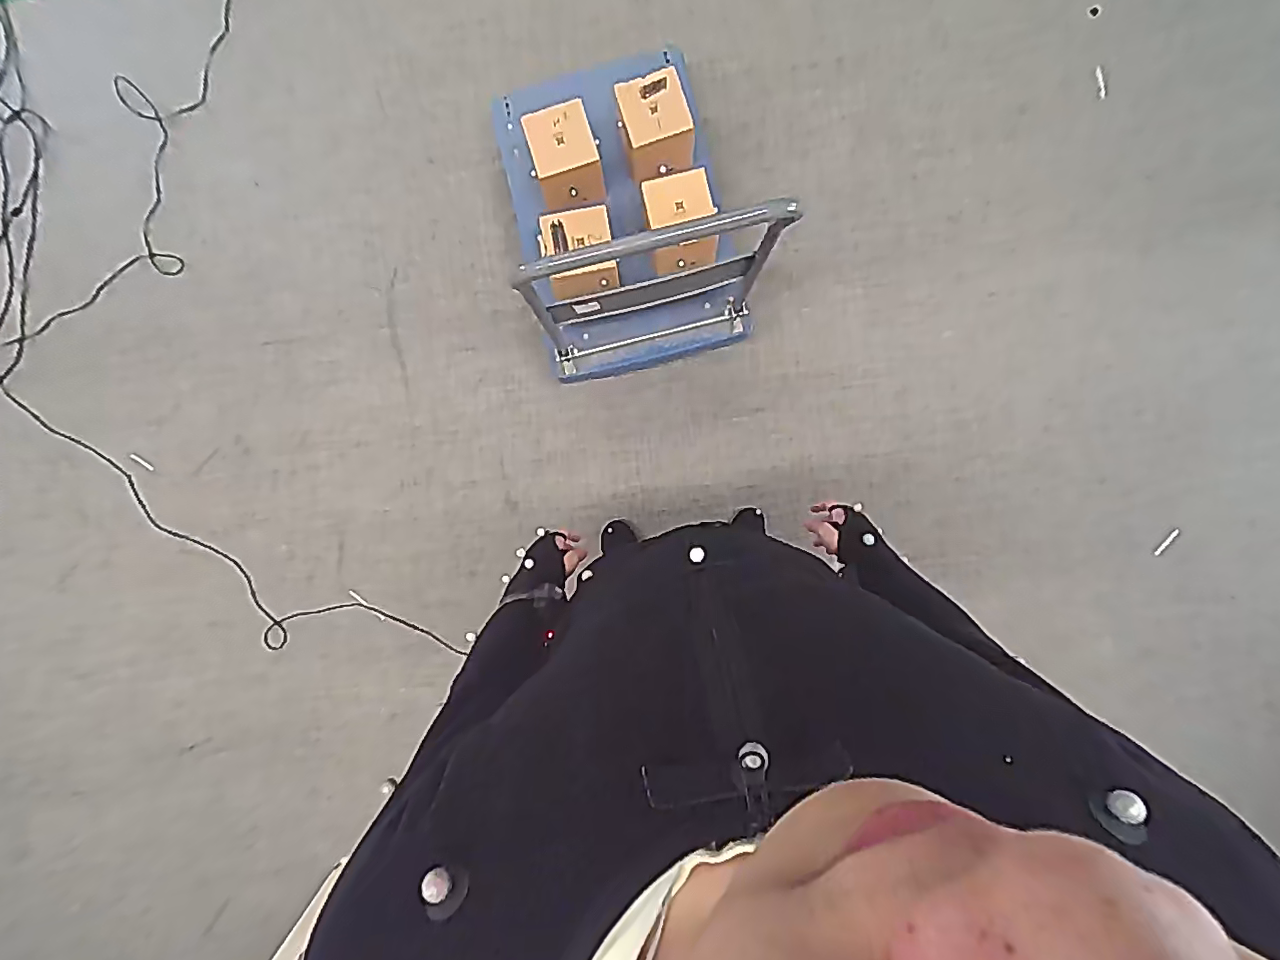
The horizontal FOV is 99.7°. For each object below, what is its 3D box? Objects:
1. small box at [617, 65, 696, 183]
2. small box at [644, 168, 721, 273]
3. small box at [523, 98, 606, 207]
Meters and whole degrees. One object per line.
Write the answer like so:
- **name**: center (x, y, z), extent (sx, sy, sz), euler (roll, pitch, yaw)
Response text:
- **small box**: center (0.044, -0.942, 1.445), extent (0.168, 0.176, 0.179), euler (-17, 88, 3)
- **small box**: center (0.108, -0.680, 1.432), extent (0.168, 0.176, 0.179), euler (-13, 87, 2)
- **small box**: center (-0.196, -0.866, 1.452), extent (0.168, 0.176, 0.179), euler (-17, 87, 1)
